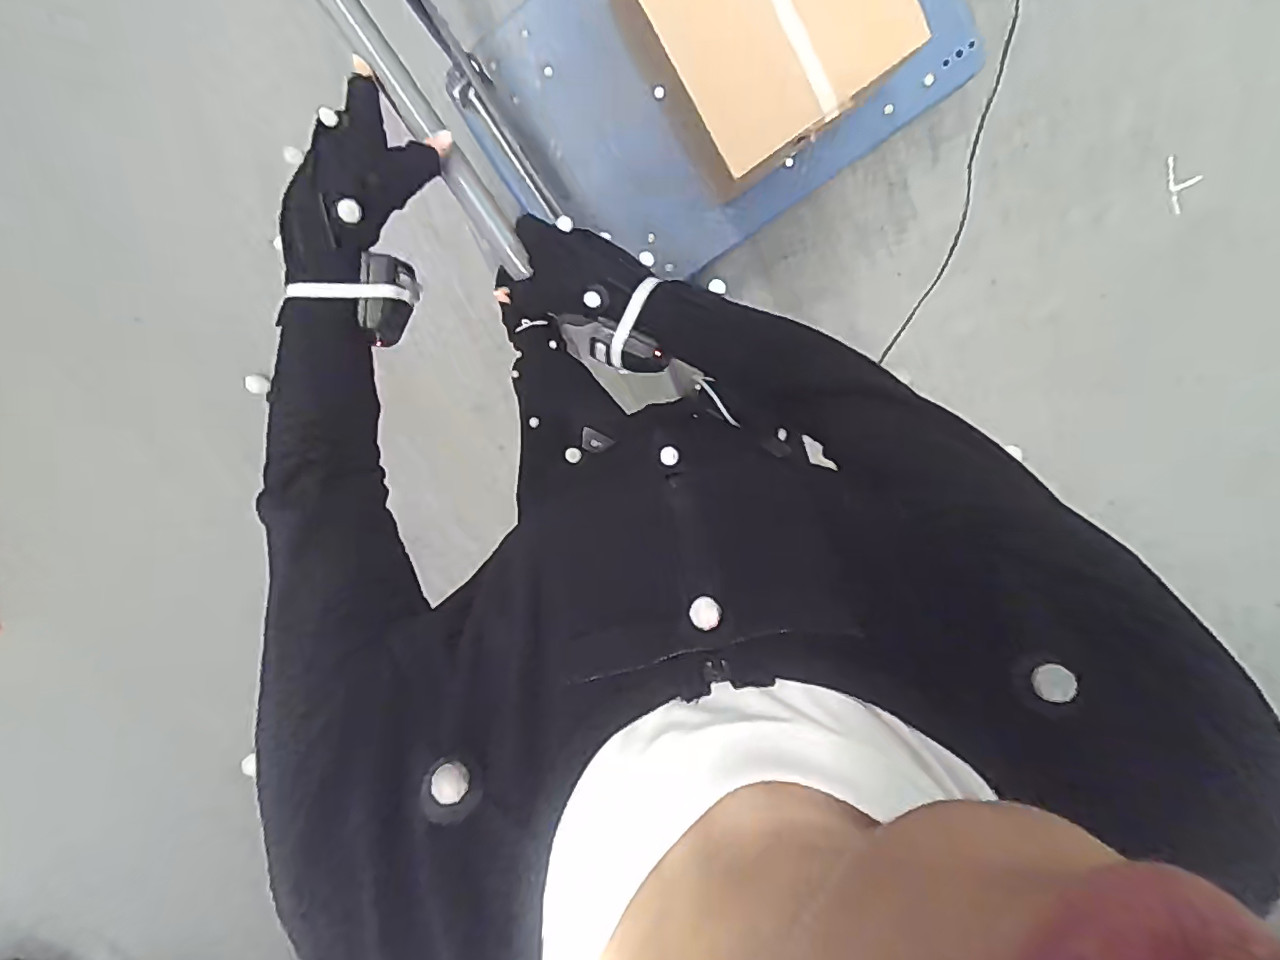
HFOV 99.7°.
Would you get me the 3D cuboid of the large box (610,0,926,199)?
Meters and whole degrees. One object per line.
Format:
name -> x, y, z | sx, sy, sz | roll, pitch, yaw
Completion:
large box -> 0.172, -0.749, 0.873 | 0.320, 0.320, 0.408 | -32, 104, 13
